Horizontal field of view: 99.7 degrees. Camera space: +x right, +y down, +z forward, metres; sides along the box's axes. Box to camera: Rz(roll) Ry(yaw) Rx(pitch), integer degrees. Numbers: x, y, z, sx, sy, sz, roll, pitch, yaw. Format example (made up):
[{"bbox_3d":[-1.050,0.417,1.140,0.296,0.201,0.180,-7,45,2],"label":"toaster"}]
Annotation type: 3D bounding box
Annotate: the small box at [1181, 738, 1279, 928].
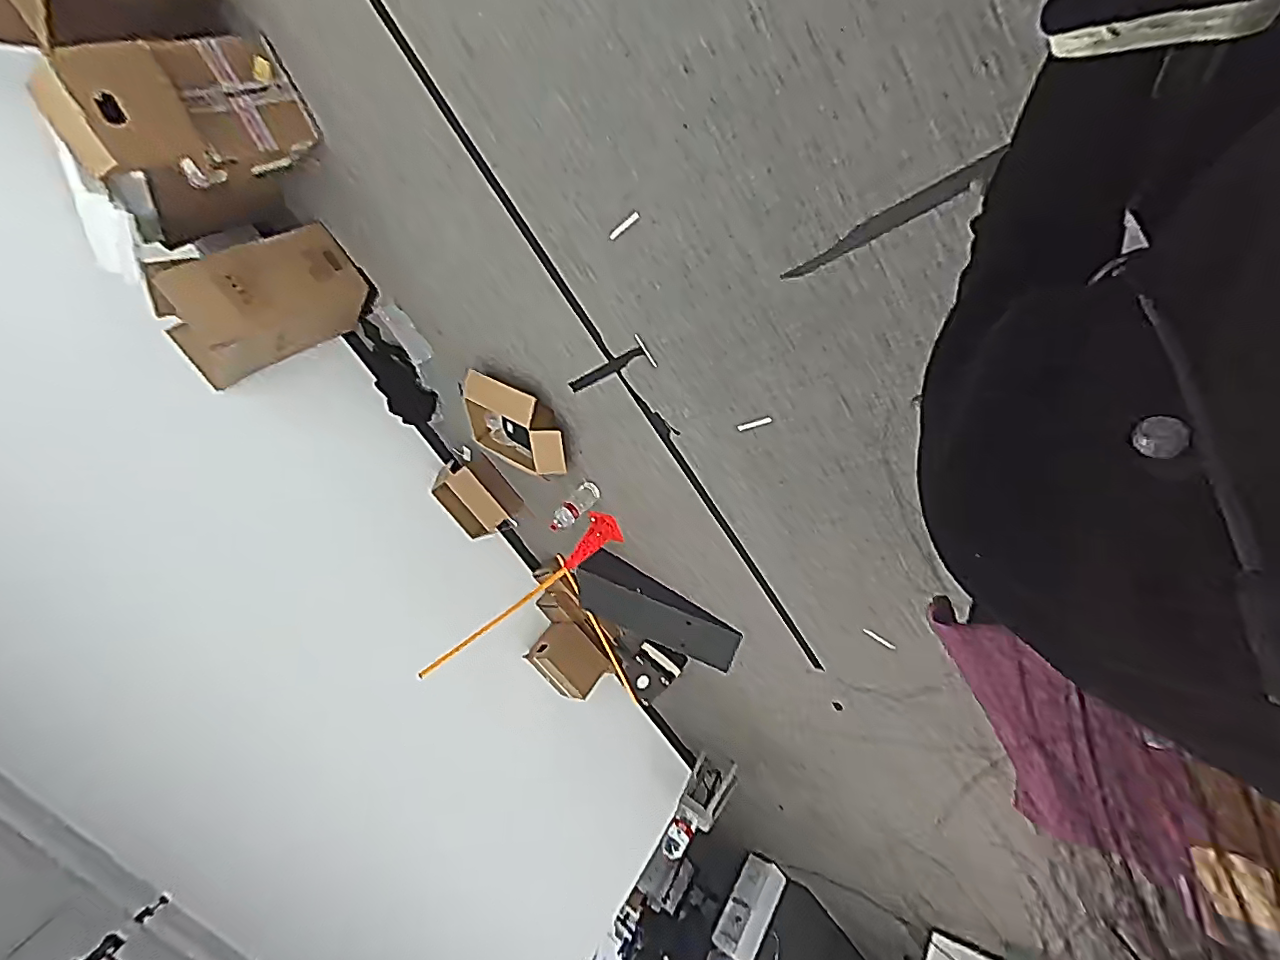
[{"bbox_3d":[0.896,0.509,0.769,0.168,0.176,0.179,-7,121,47],"label":"small box"}]
